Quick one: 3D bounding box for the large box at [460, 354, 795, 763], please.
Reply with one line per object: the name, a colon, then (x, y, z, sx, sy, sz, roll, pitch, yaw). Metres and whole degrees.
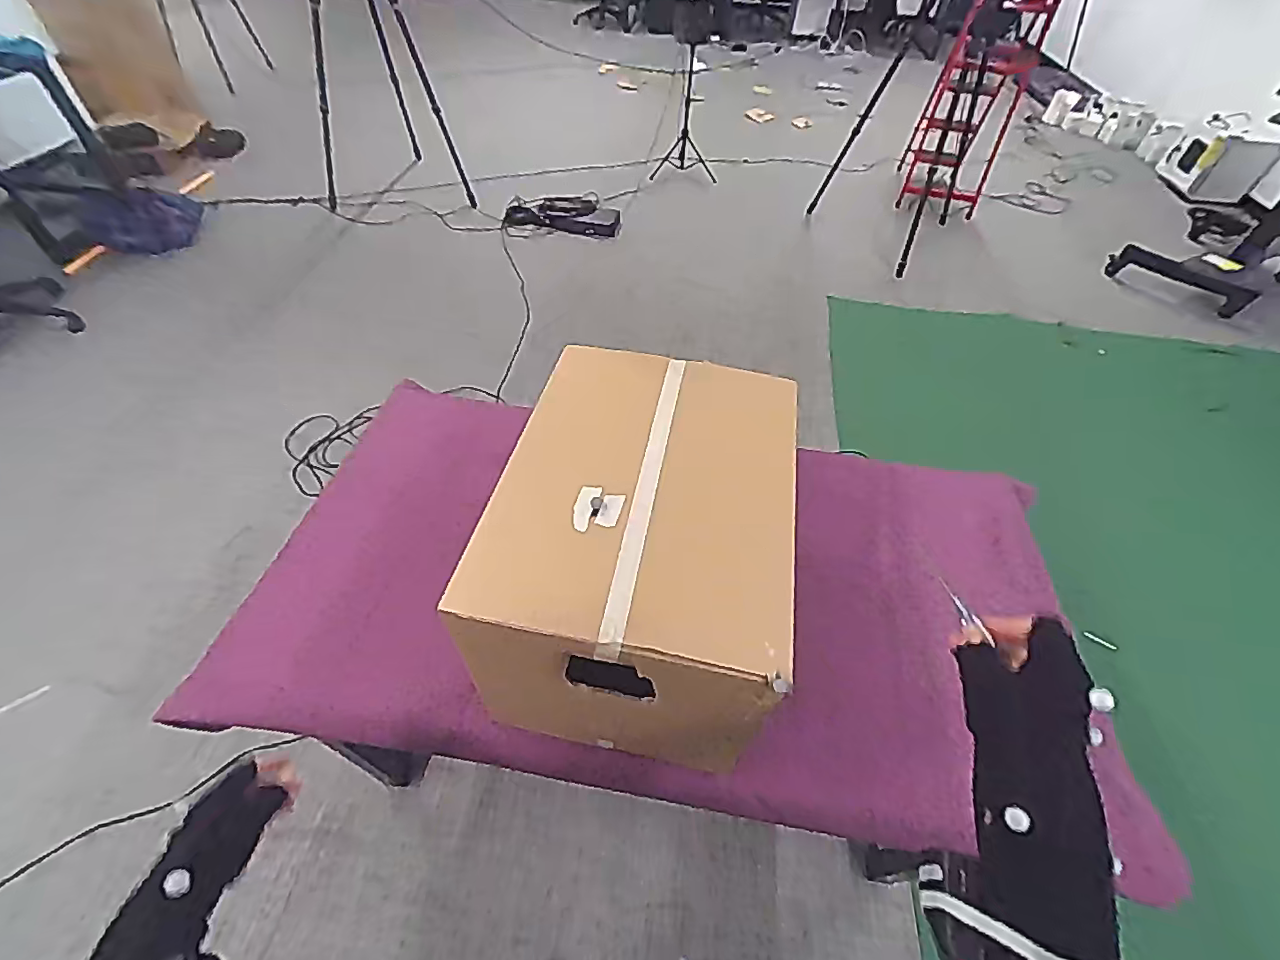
large box: (0.008, 0.097, 0.720, 0.320, 0.320, 0.408, 11, 50, 5)
